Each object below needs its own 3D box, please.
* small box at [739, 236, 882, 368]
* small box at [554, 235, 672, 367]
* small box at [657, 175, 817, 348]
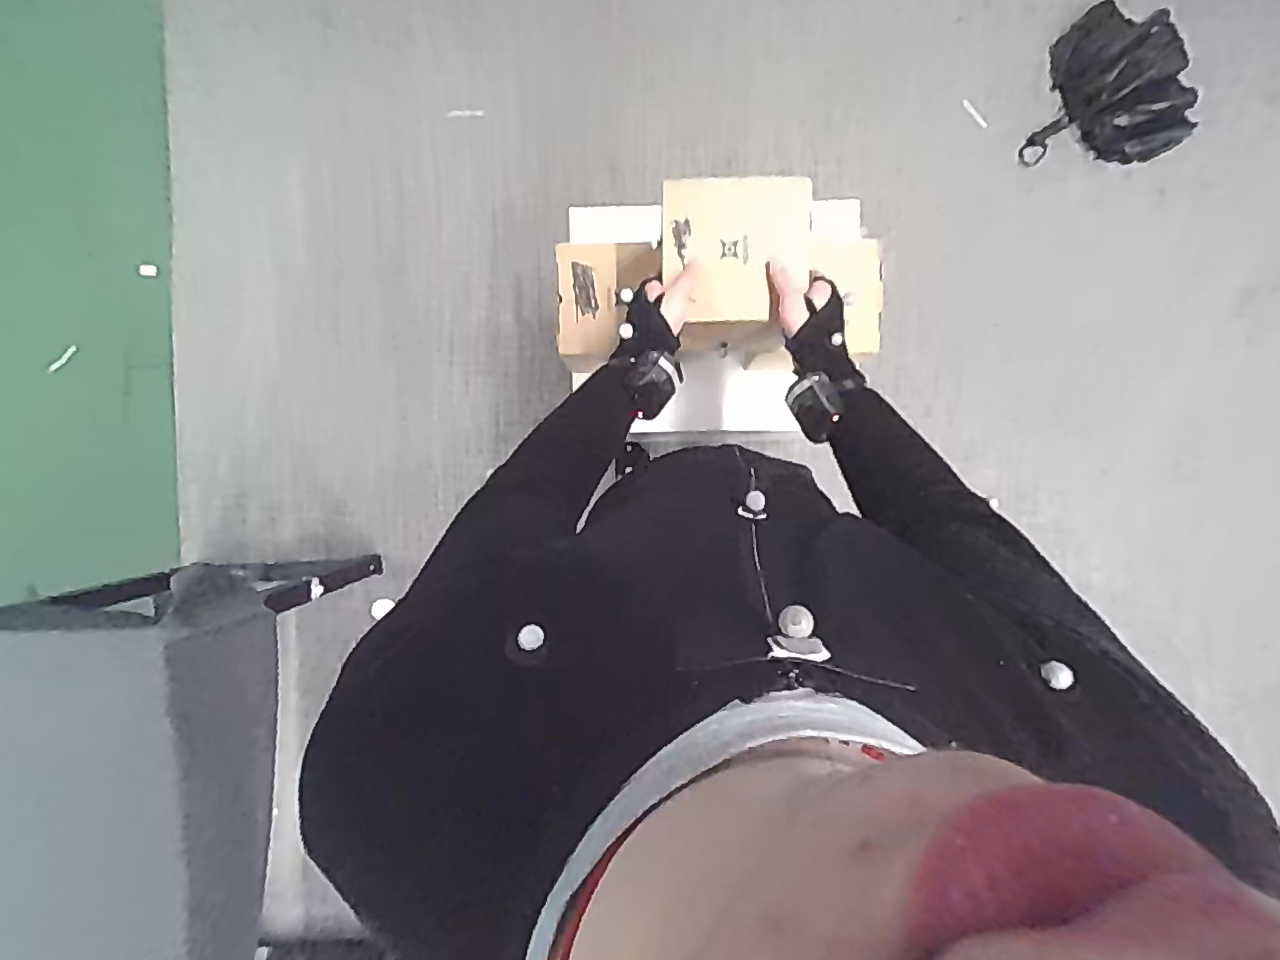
[{"bbox_3d":[0.262,-0.275,0.864,0.179,0.176,0.168,1,93,2],"label":"small box"},{"bbox_3d":[-0.038,-0.276,0.864,0.179,0.176,0.168,-1,93,-2],"label":"small box"},{"bbox_3d":[0.114,-0.270,0.702,0.179,0.176,0.168,0,93,0],"label":"small box"}]
